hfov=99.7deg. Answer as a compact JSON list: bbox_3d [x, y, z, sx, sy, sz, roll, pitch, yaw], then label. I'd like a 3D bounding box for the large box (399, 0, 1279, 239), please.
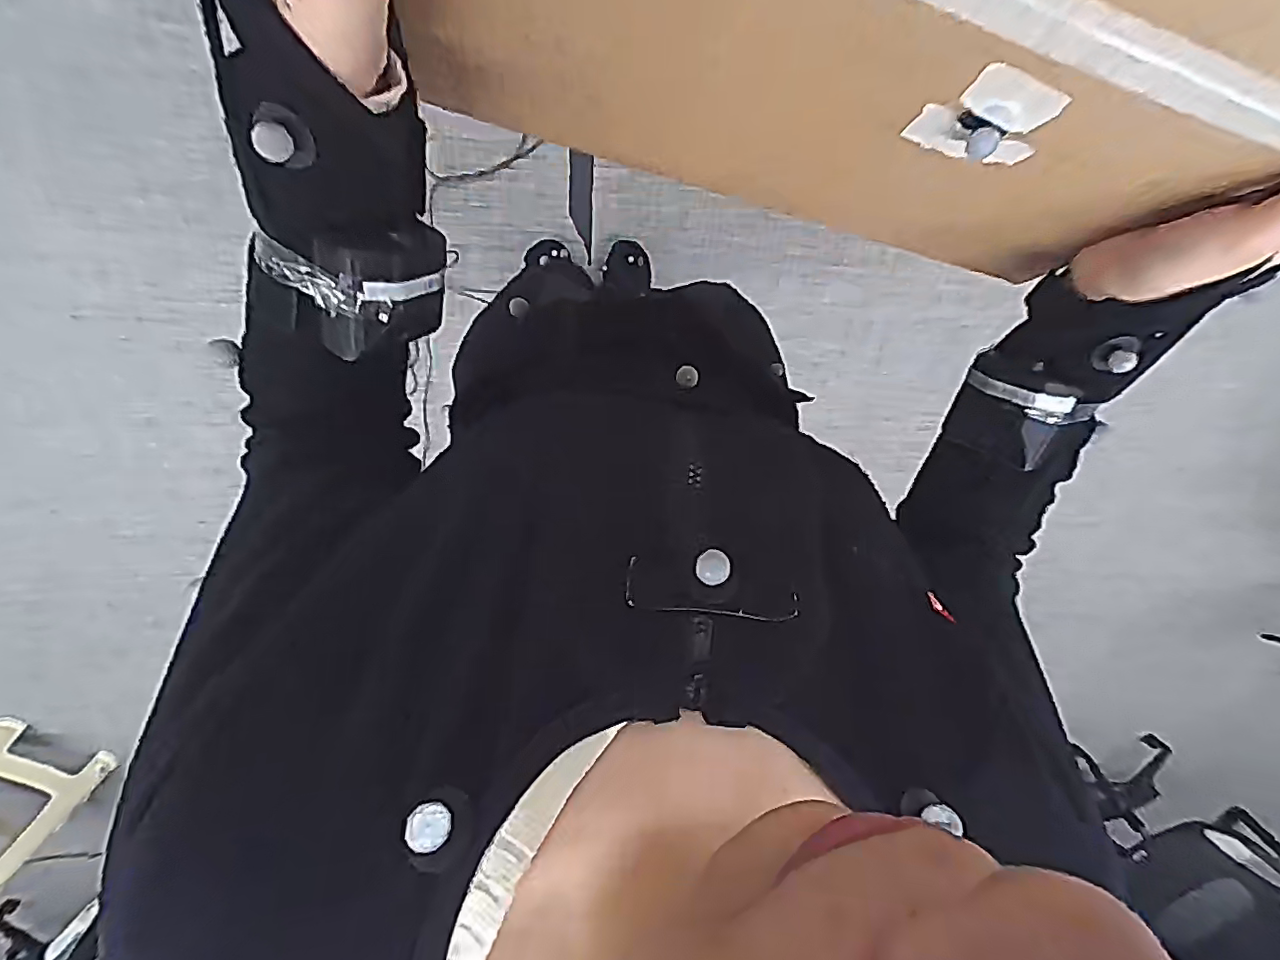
[{"bbox_3d":[0.130,-0.332,0.161,0.408,0.320,0.320,9,88,-12],"label":"large box"}]
